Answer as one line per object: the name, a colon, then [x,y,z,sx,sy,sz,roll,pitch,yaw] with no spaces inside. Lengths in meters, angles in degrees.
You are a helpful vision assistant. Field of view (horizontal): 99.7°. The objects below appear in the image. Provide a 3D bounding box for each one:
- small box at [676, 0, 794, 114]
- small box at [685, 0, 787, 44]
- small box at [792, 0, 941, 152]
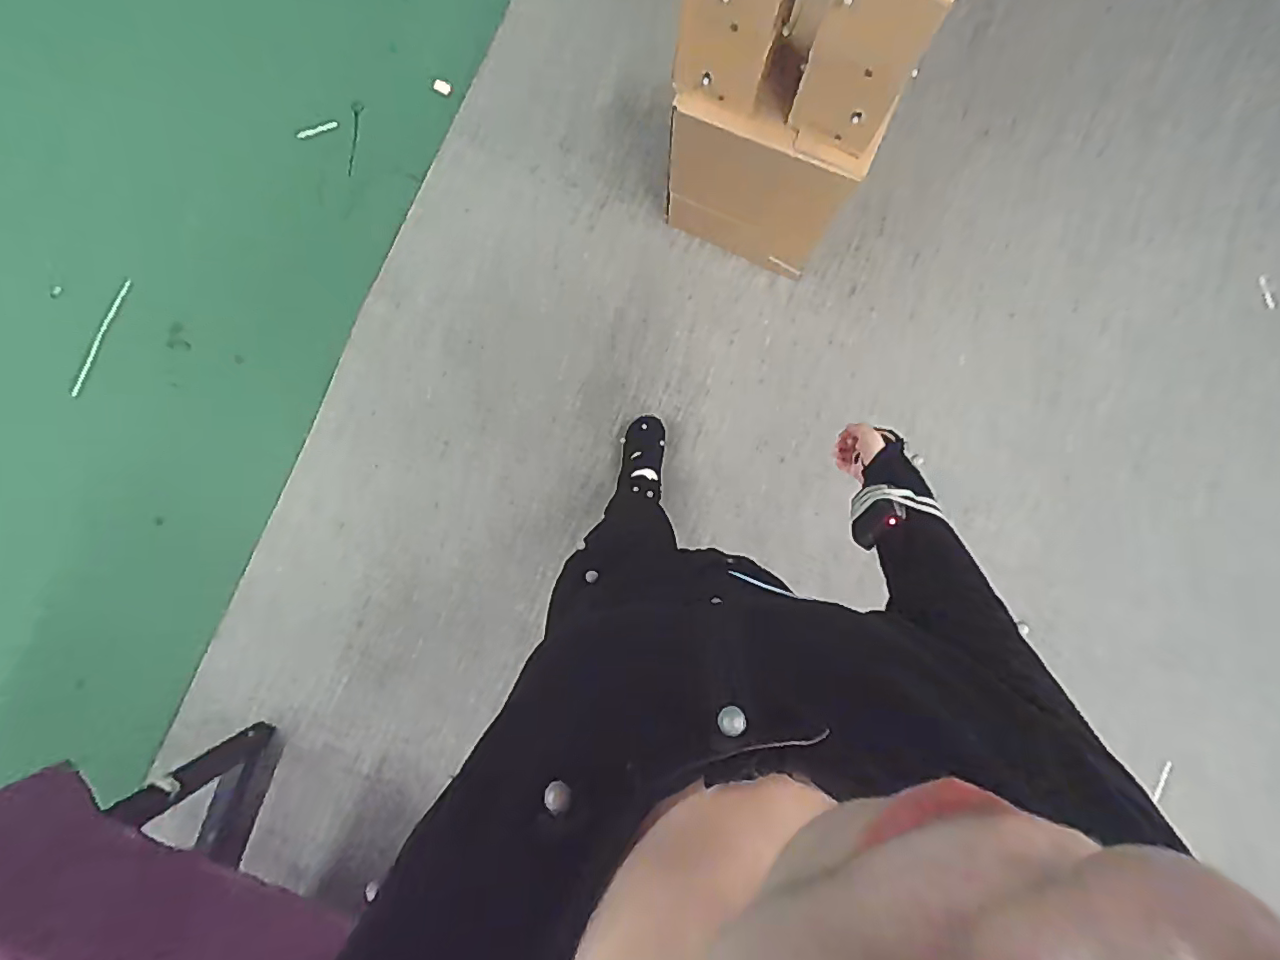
small box: [0.172,-0.828,0.986,0.168,0.176,0.179,24,89,1]
small box: [0.168,-0.827,0.821,0.168,0.176,0.179,26,89,1]
small box: [0.394,-0.744,0.978,0.168,0.176,0.179,27,87,2]
